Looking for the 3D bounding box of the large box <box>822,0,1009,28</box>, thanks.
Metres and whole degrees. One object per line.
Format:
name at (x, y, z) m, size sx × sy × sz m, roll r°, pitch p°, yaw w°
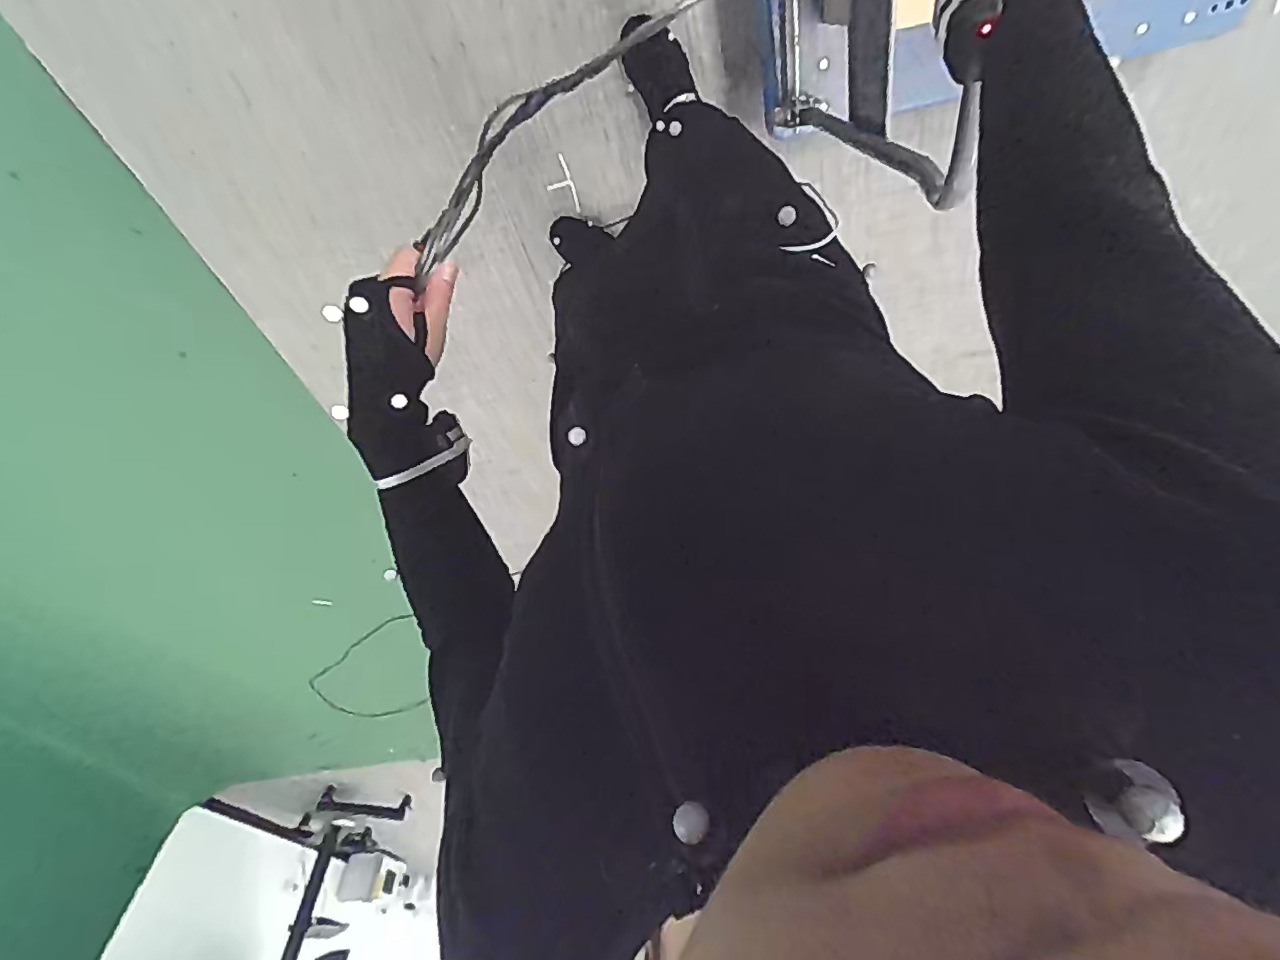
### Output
large box at (0.499, -0.879, 0.756) m, size 0.408 × 0.320 × 0.320 m, roll -8°, pitch 132°, yaw 5°
